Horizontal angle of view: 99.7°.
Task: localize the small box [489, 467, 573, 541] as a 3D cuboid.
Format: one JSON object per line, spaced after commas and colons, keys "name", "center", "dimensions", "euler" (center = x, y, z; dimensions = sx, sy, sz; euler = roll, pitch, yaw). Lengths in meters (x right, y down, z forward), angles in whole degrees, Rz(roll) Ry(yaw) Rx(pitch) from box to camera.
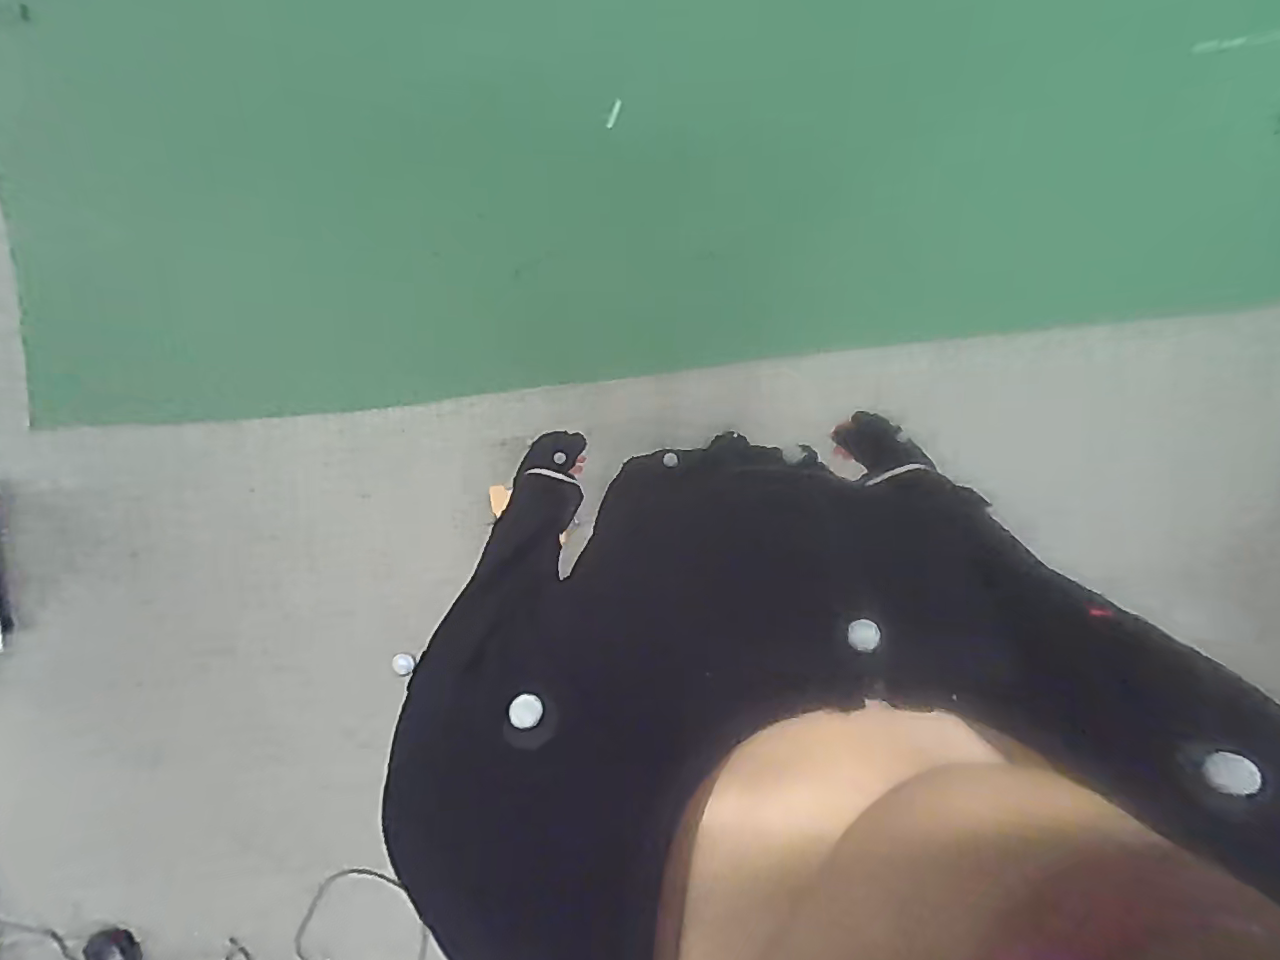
{"name": "small box", "center": [-0.276, 0.058, 1.420], "dimensions": [0.179, 0.176, 0.168], "euler": [-7, 93, 4]}
